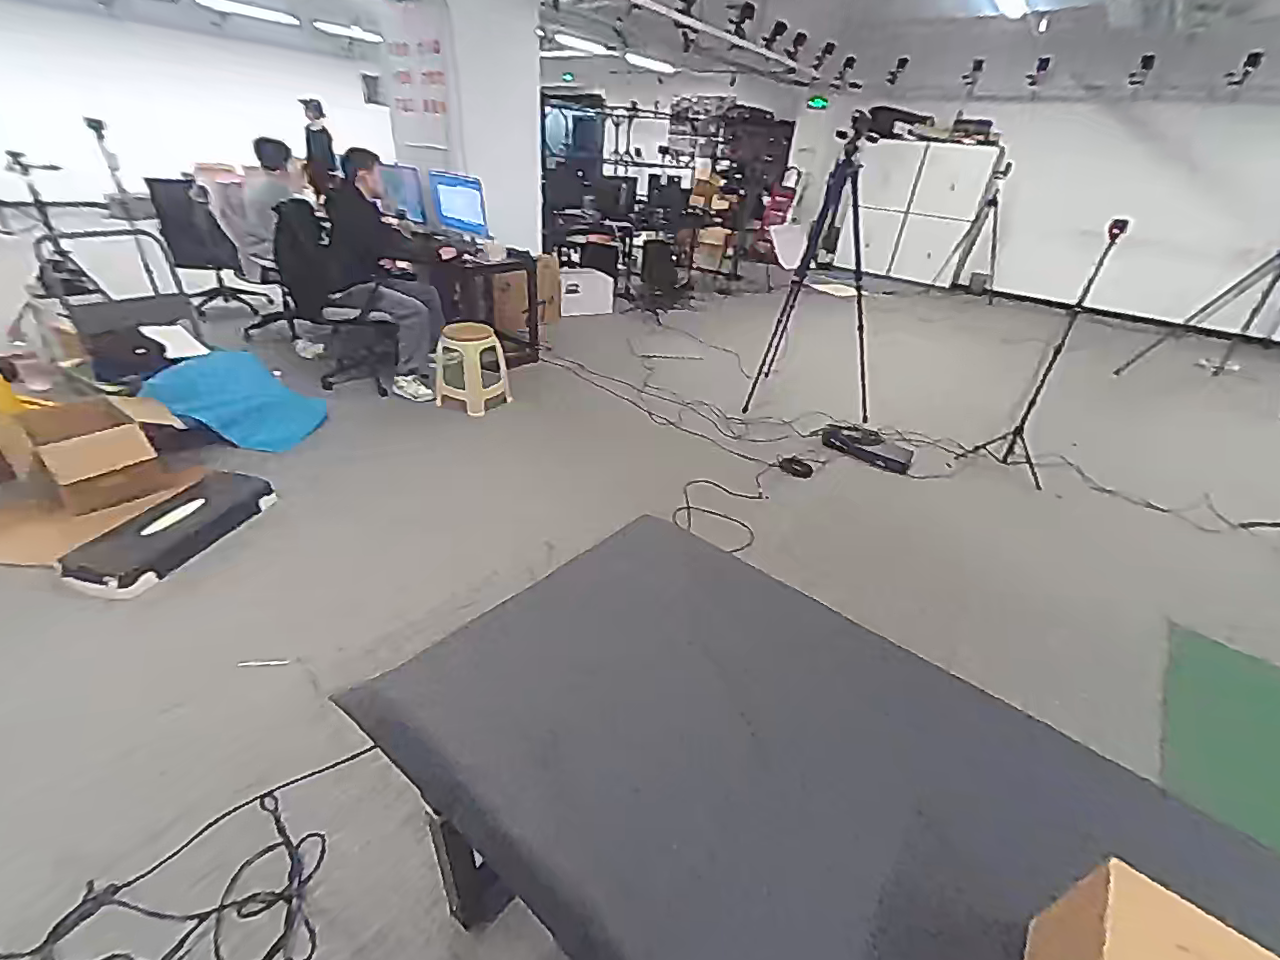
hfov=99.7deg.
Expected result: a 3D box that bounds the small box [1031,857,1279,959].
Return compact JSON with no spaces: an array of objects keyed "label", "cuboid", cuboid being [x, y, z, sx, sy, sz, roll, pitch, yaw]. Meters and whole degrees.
[{"label":"small box","cuboid":[0.433,0.470,0.434,0.168,0.176,0.179,27,42,31]}]
